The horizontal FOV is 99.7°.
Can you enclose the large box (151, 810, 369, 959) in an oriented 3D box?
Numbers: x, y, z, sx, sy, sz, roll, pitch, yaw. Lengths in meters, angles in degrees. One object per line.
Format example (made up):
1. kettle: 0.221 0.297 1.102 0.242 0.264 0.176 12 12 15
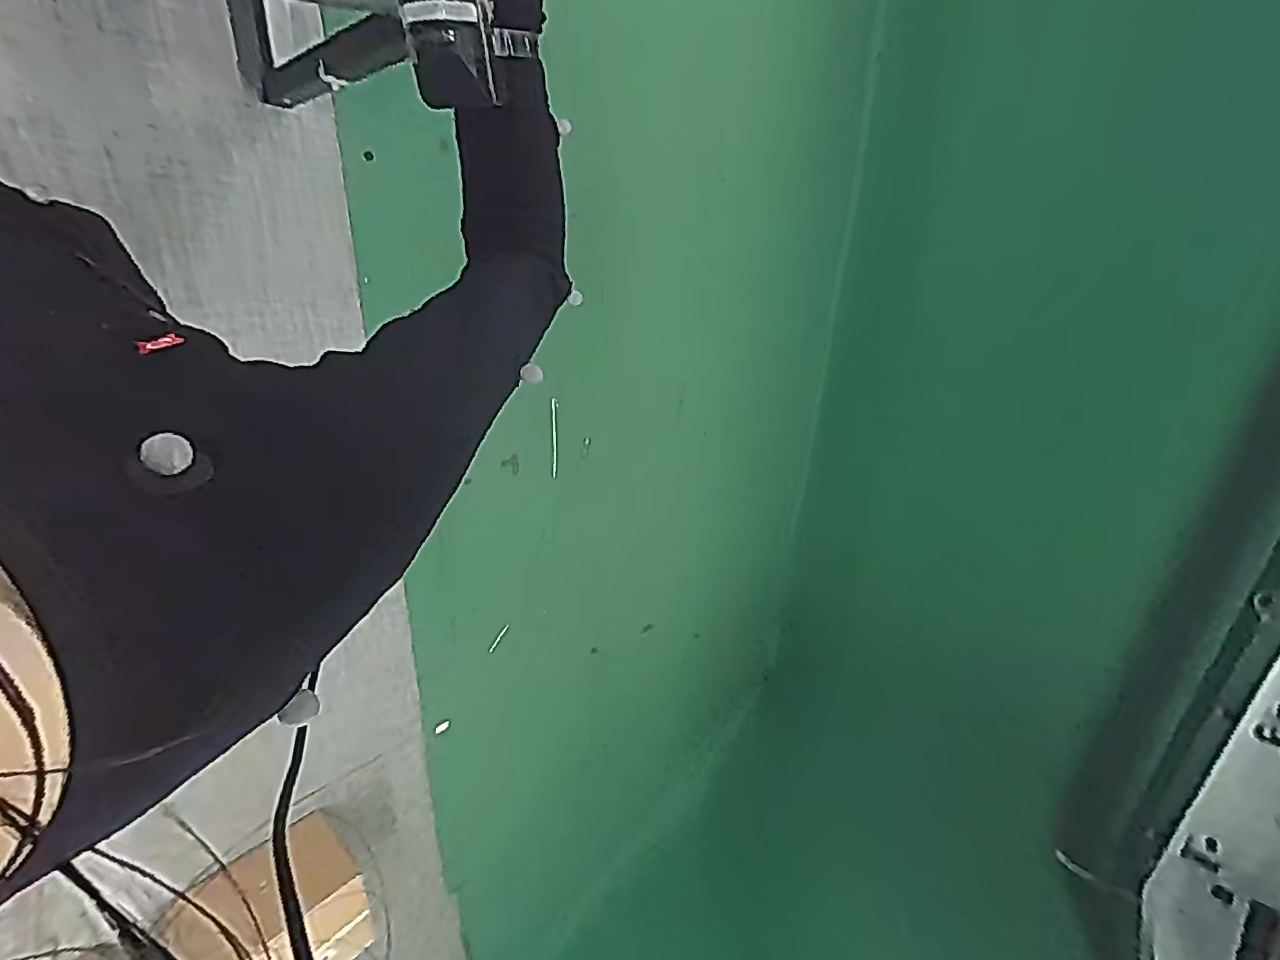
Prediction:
1. large box: -1.068 1.277 1.548 0.408 0.320 0.320 -22 122 -48
